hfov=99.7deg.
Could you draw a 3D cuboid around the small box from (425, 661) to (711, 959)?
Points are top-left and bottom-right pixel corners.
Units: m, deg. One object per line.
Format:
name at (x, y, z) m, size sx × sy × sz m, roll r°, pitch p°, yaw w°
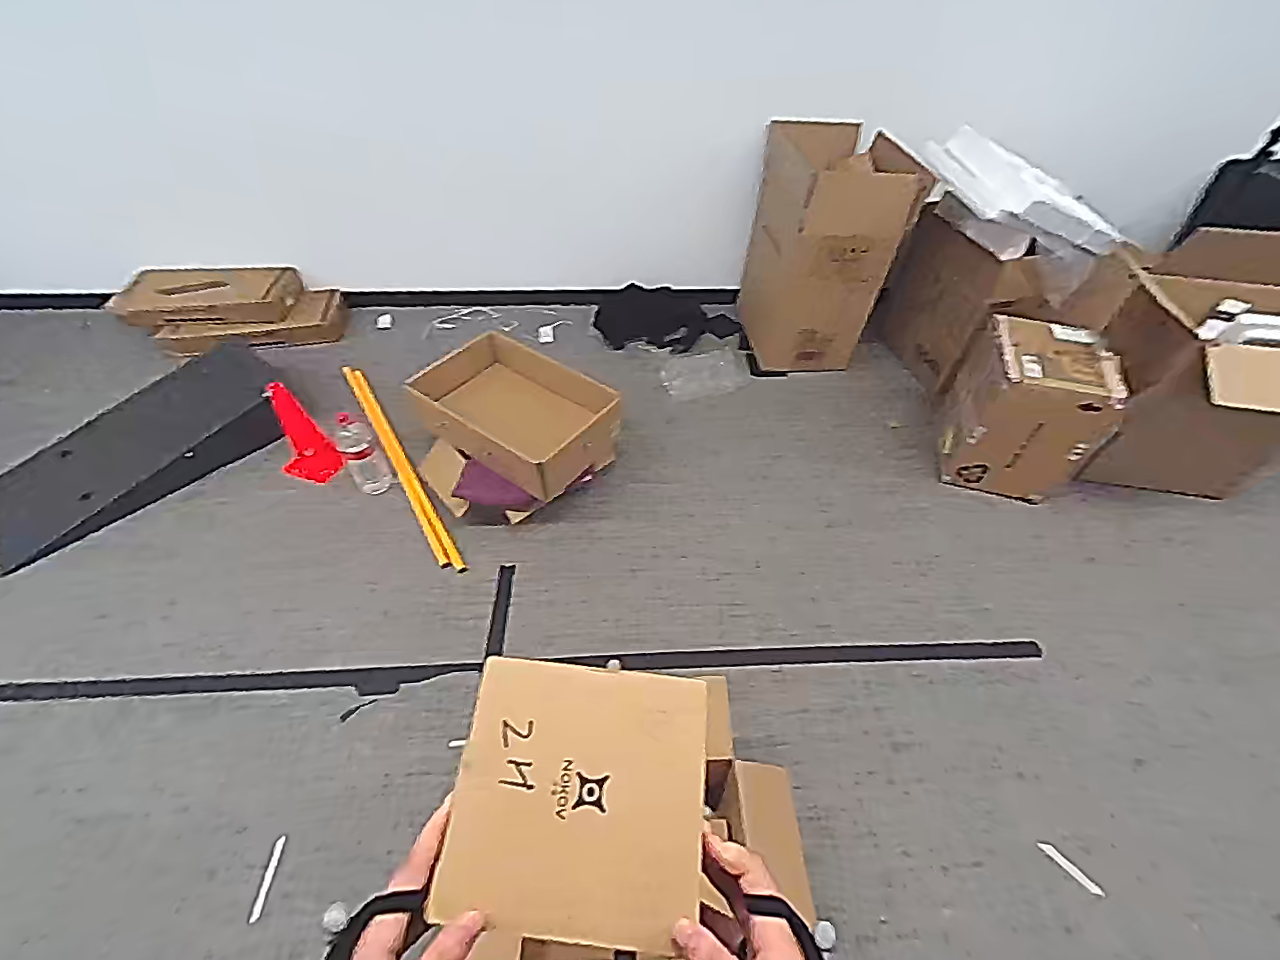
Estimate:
small box at (-0.041, 0.260, 0.445) m, size 0.179 × 0.176 × 0.168 m, roll 5°, pitch 58°, yaw 4°
